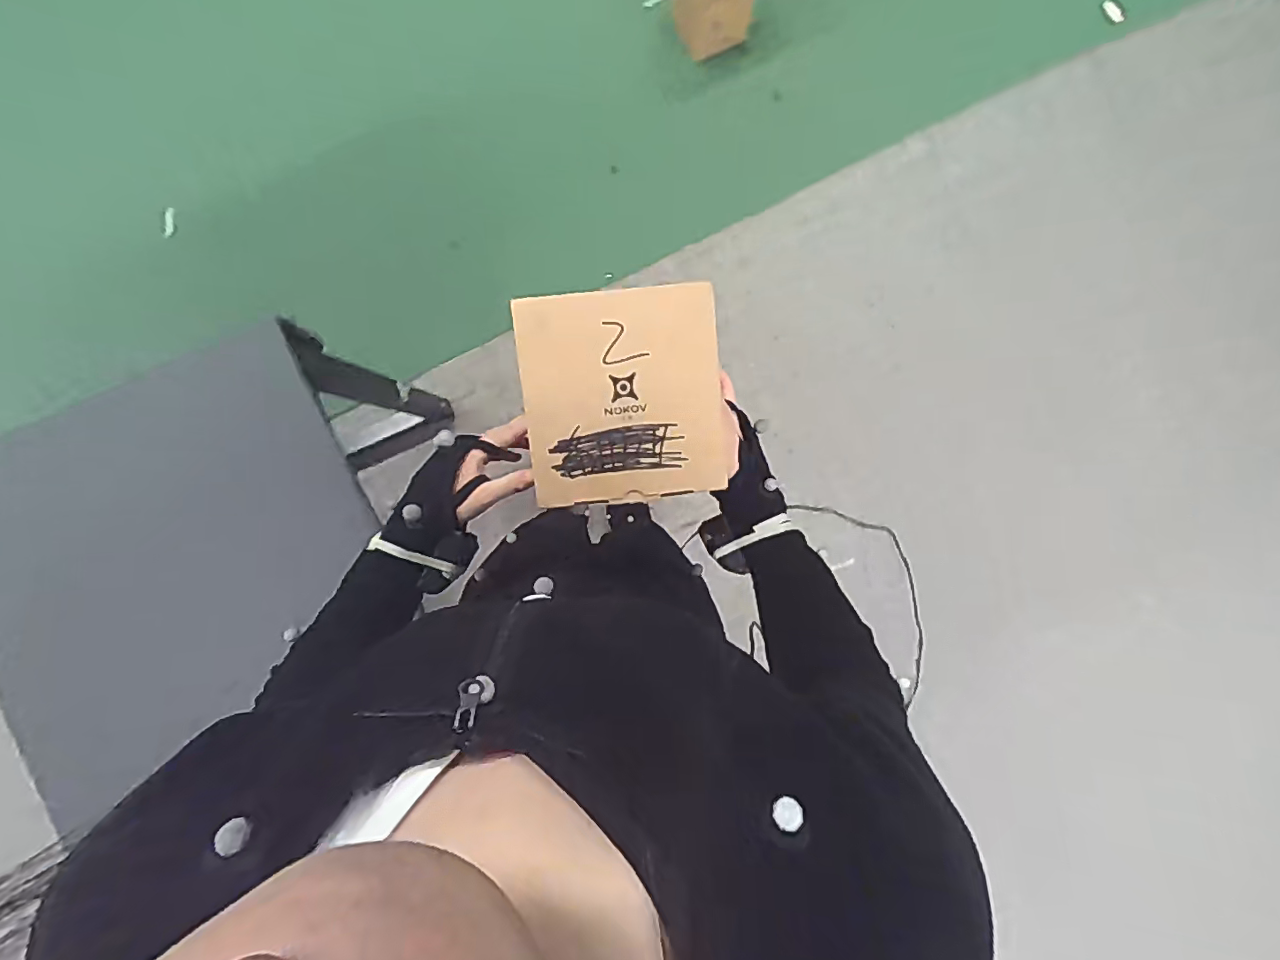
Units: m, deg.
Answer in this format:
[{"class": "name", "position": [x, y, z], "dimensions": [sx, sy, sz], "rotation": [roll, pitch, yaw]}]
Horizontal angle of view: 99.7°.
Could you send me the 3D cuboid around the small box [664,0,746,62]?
[{"class": "small box", "position": [0.171, -1.263, 1.435], "dimensions": [0.168, 0.176, 0.179], "rotation": [-25, 89, 0]}]
